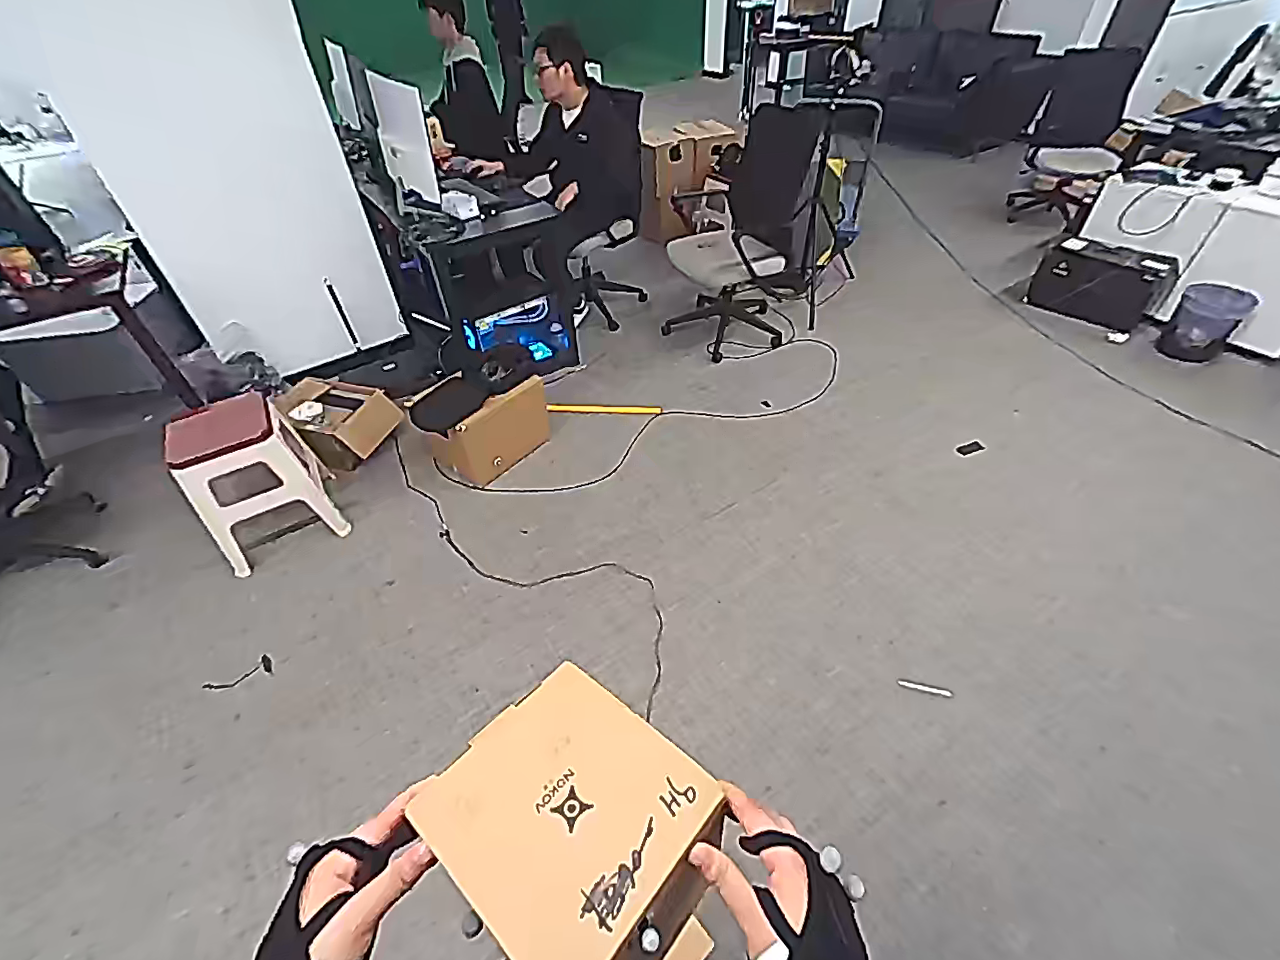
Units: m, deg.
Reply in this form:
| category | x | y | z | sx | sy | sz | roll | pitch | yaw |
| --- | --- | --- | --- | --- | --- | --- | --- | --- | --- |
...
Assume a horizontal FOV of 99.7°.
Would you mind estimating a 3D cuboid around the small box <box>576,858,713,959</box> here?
| category | x | y | z | sx | sy | sz | roll | pitch | yaw |
| --- | --- | --- | --- | --- | --- | --- | --- | --- | --- |
| small box | 0.009 | 0.830 | 0.962 | 0.179 | 0.176 | 0.168 | -31 | 52 | -28 |
